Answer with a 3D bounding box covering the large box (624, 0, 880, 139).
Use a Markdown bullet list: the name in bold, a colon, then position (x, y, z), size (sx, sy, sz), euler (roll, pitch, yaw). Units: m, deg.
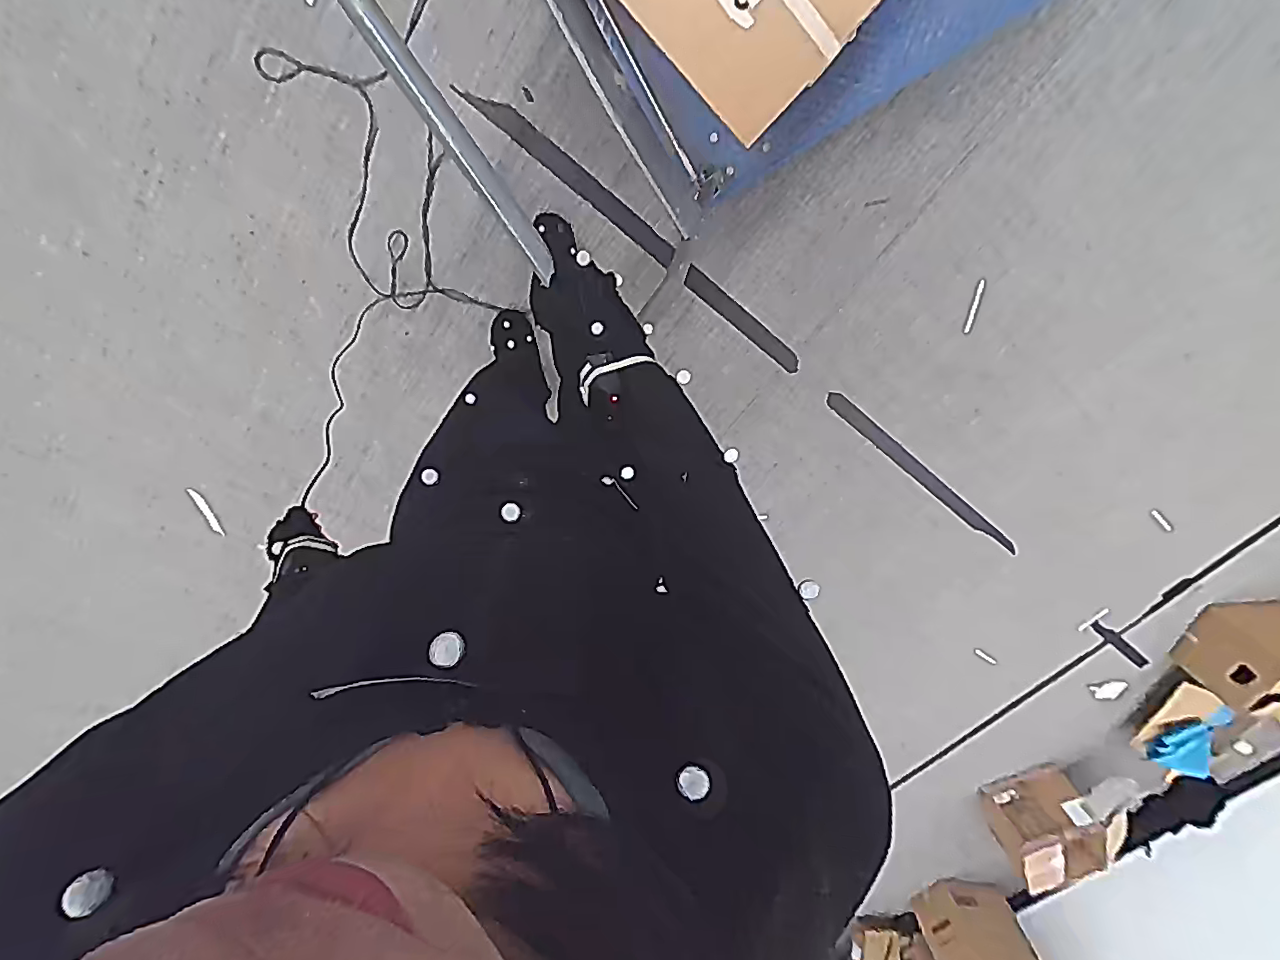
- **large box**: position (0.141, -0.797, 0.772), size (0.408, 0.320, 0.320), euler (37, 130, -21)
